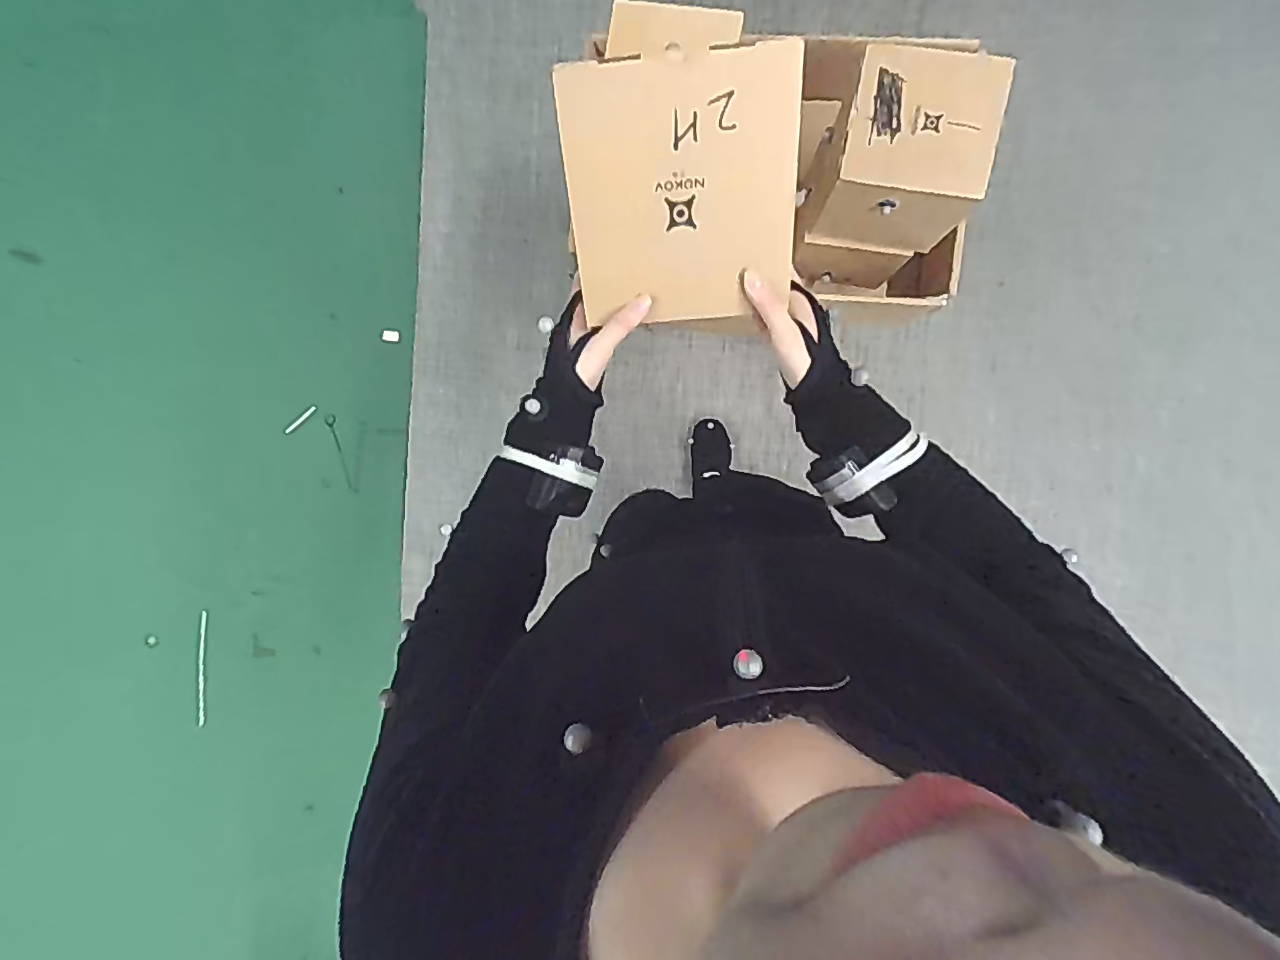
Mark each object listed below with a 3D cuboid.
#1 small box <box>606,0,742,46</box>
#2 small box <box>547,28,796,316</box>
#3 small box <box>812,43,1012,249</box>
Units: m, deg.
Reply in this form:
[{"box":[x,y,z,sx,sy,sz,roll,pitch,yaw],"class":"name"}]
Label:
[{"box":[0.038,-0.504,0.753,0.168,0.176,0.179,11,93,5],"class":"small box"},{"box":[0.028,-0.253,0.462,0.168,0.176,0.179,-3,120,4],"class":"small box"},{"box":[0.344,-0.430,0.723,0.179,0.176,0.168,12,94,5],"class":"small box"}]
